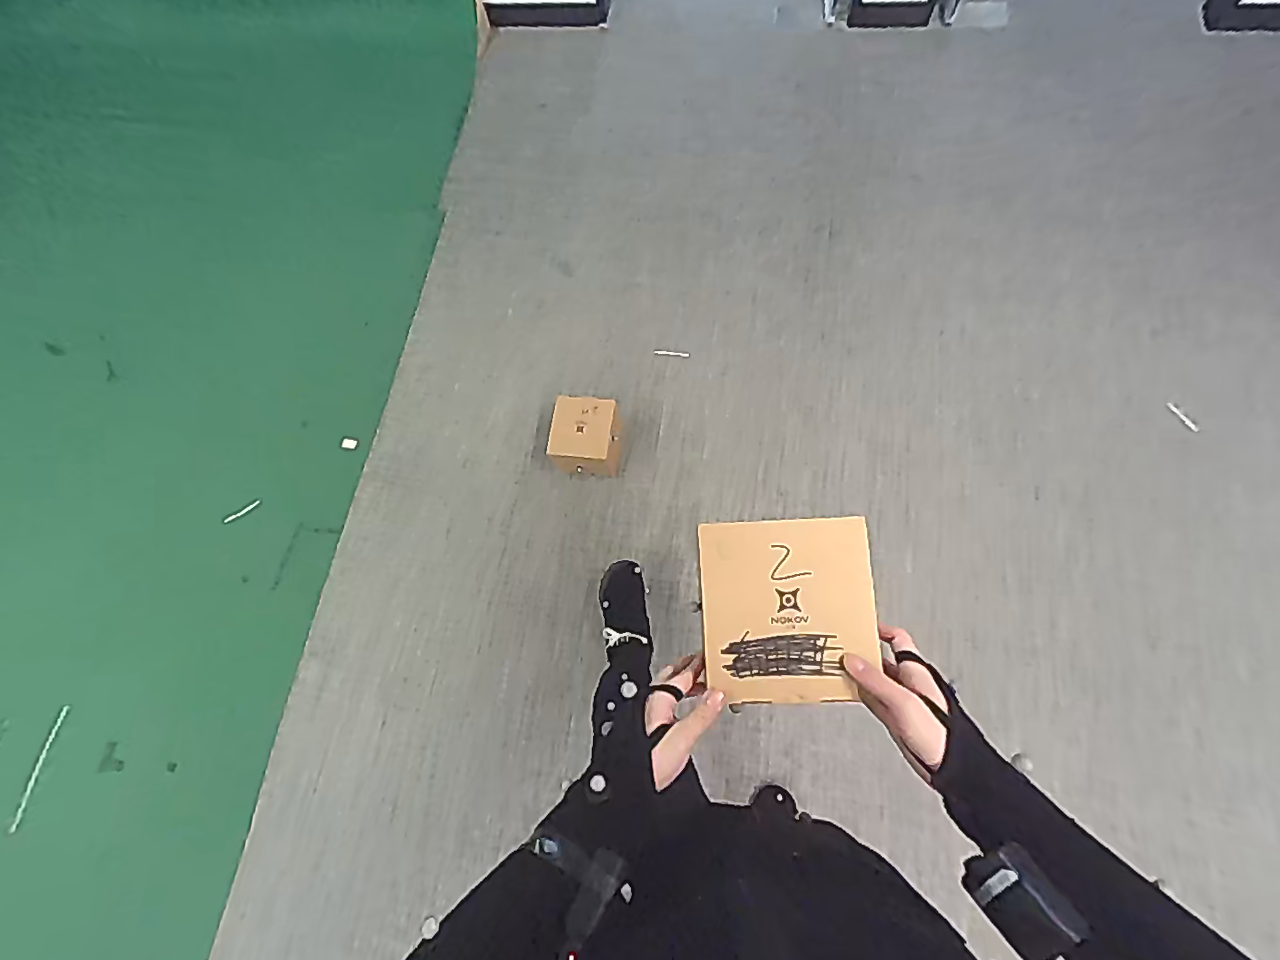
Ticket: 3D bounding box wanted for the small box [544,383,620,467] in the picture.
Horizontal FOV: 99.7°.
[{"bbox_3d":[-0.153,-0.147,1.508,0.168,0.176,0.179,8,74,6],"label":"small box"}]
